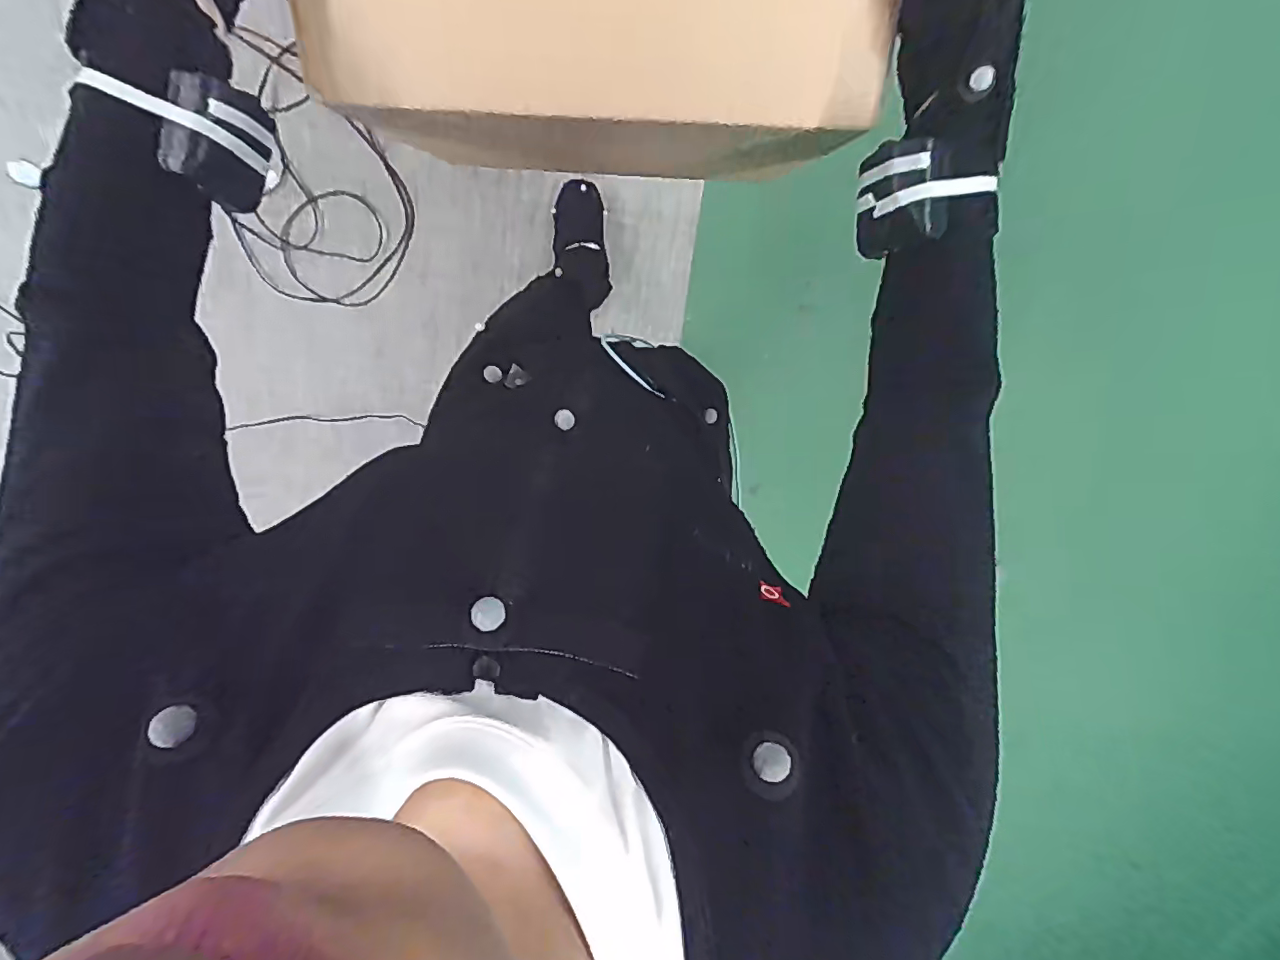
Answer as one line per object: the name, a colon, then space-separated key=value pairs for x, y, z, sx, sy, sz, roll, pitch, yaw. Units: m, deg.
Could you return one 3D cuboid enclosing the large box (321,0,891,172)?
large box: x=-0.023 y=-0.473 z=0.477 sx=0.408 sy=0.320 sz=0.320 roll=2 pitch=113 yaw=-2
